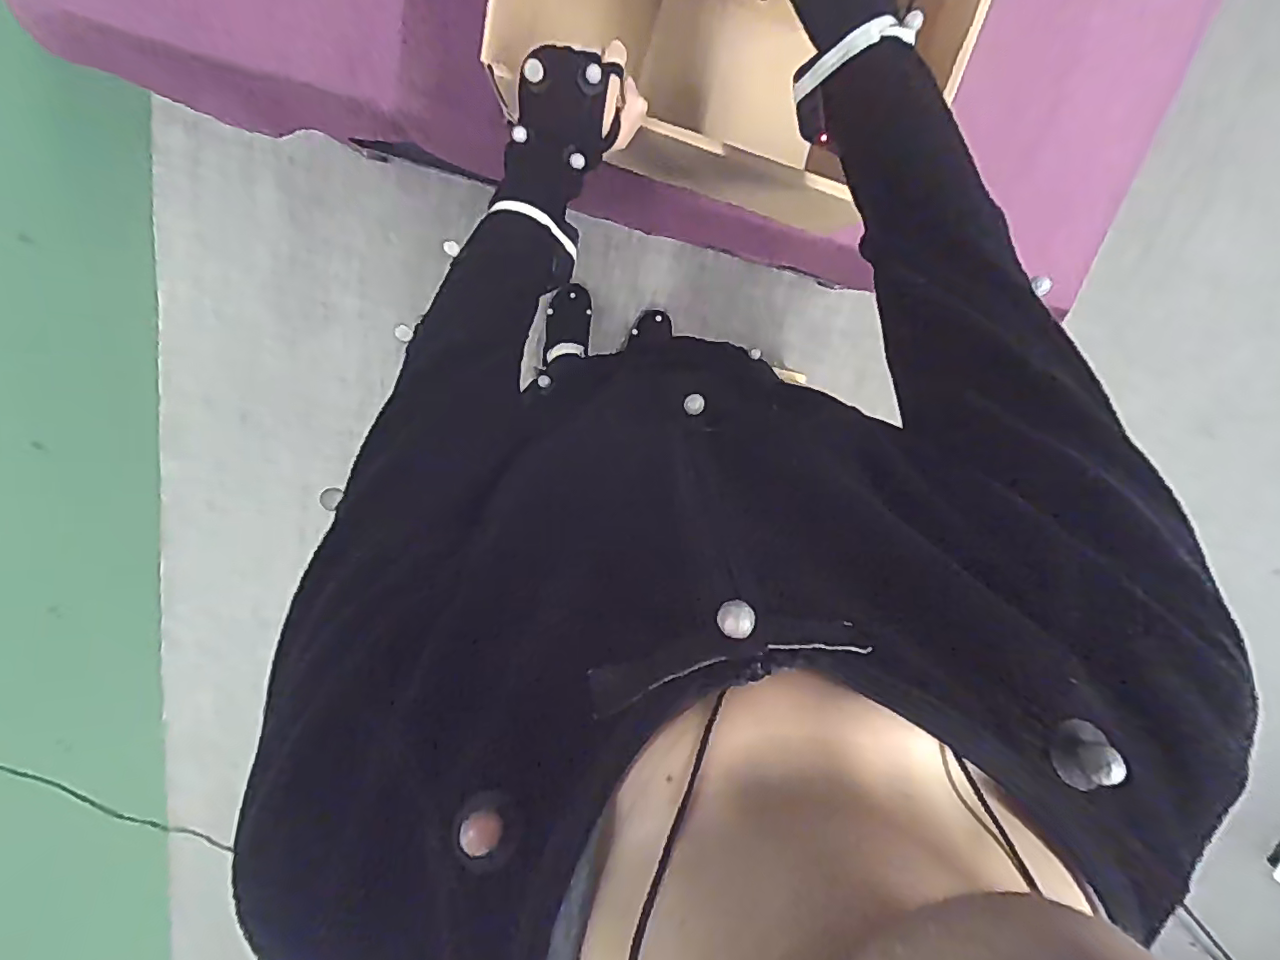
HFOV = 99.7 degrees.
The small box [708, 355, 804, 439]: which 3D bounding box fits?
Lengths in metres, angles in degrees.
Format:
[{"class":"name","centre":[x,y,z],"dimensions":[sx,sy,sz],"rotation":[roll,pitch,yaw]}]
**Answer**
[{"class":"small box","centre":[0.293,-0.222,1.407],"dimensions":[0.179,0.176,0.168],"rotation":[11,108,-8]}]
